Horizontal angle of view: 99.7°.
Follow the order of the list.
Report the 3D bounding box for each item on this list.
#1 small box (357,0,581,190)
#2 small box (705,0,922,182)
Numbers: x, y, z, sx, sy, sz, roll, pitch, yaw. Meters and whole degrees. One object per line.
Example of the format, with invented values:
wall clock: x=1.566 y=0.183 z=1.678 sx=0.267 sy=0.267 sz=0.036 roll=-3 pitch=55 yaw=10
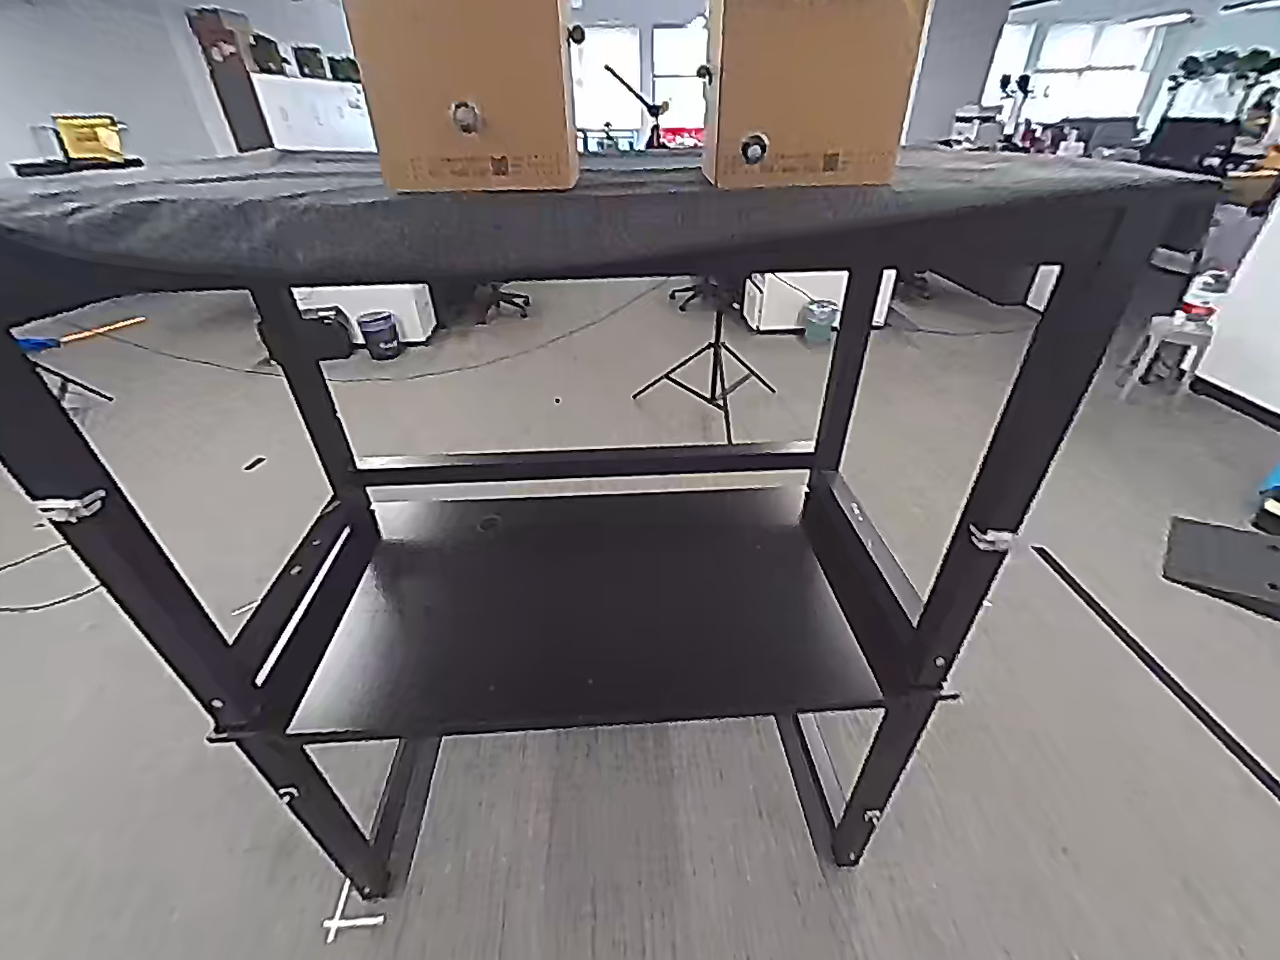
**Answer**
small box: x=-0.146 y=-0.377 z=0.513 sx=0.168 sy=0.176 sz=0.179 roll=-3 pitch=32 yaw=-2
small box: x=0.153 y=-0.390 z=0.526 sx=0.168 sy=0.176 sz=0.179 roll=0 pitch=33 yaw=2
